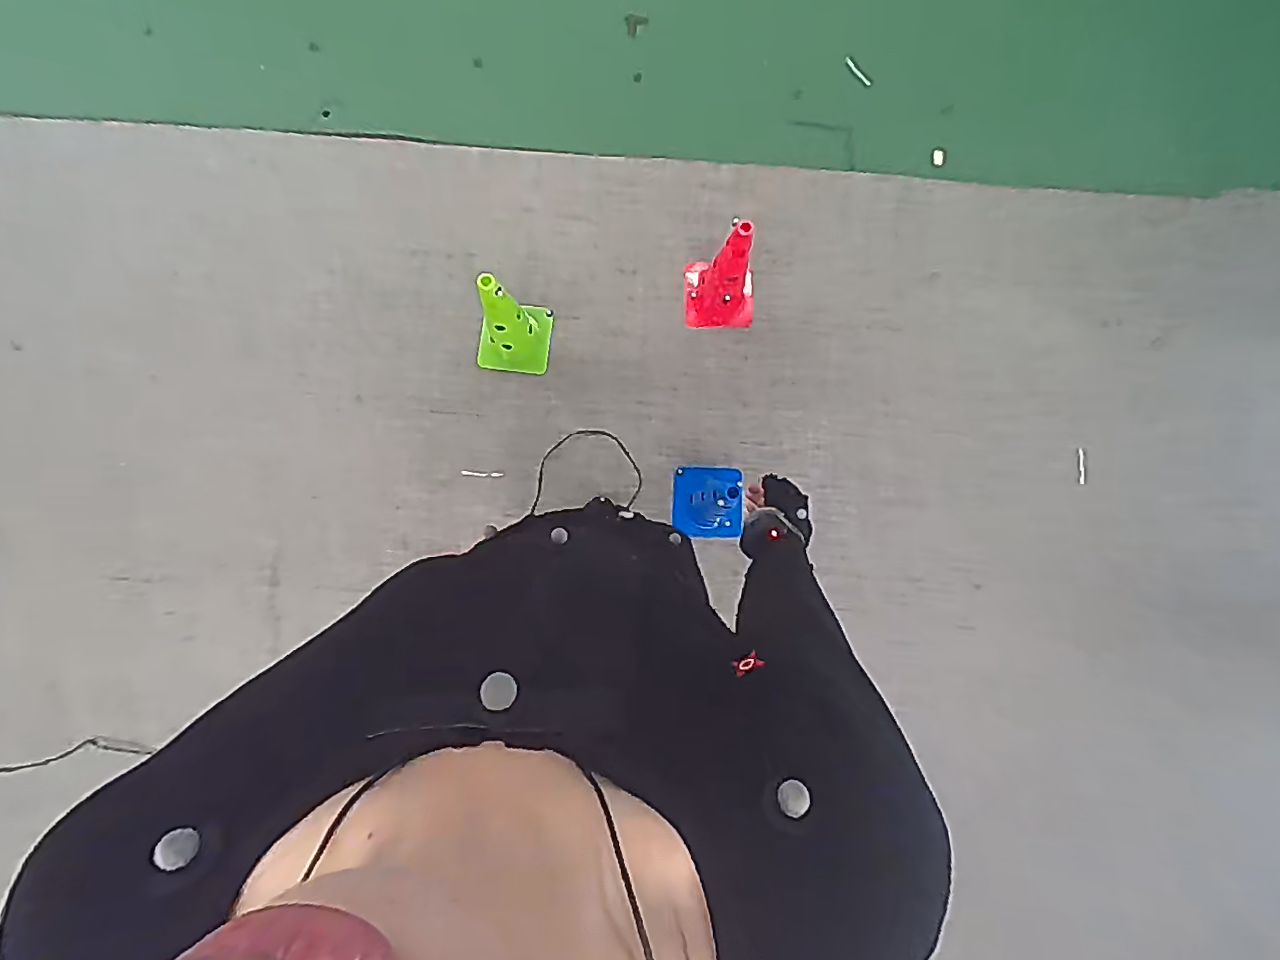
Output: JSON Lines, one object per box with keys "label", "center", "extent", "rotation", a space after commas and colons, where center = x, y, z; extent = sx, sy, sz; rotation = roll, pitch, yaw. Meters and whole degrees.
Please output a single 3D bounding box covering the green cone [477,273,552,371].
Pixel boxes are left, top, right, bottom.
{"label": "green cone", "center": [-0.354, -0.434, 1.386], "extent": [0.200, 0.368, 0.202], "rotation": [5, 85, -1]}
